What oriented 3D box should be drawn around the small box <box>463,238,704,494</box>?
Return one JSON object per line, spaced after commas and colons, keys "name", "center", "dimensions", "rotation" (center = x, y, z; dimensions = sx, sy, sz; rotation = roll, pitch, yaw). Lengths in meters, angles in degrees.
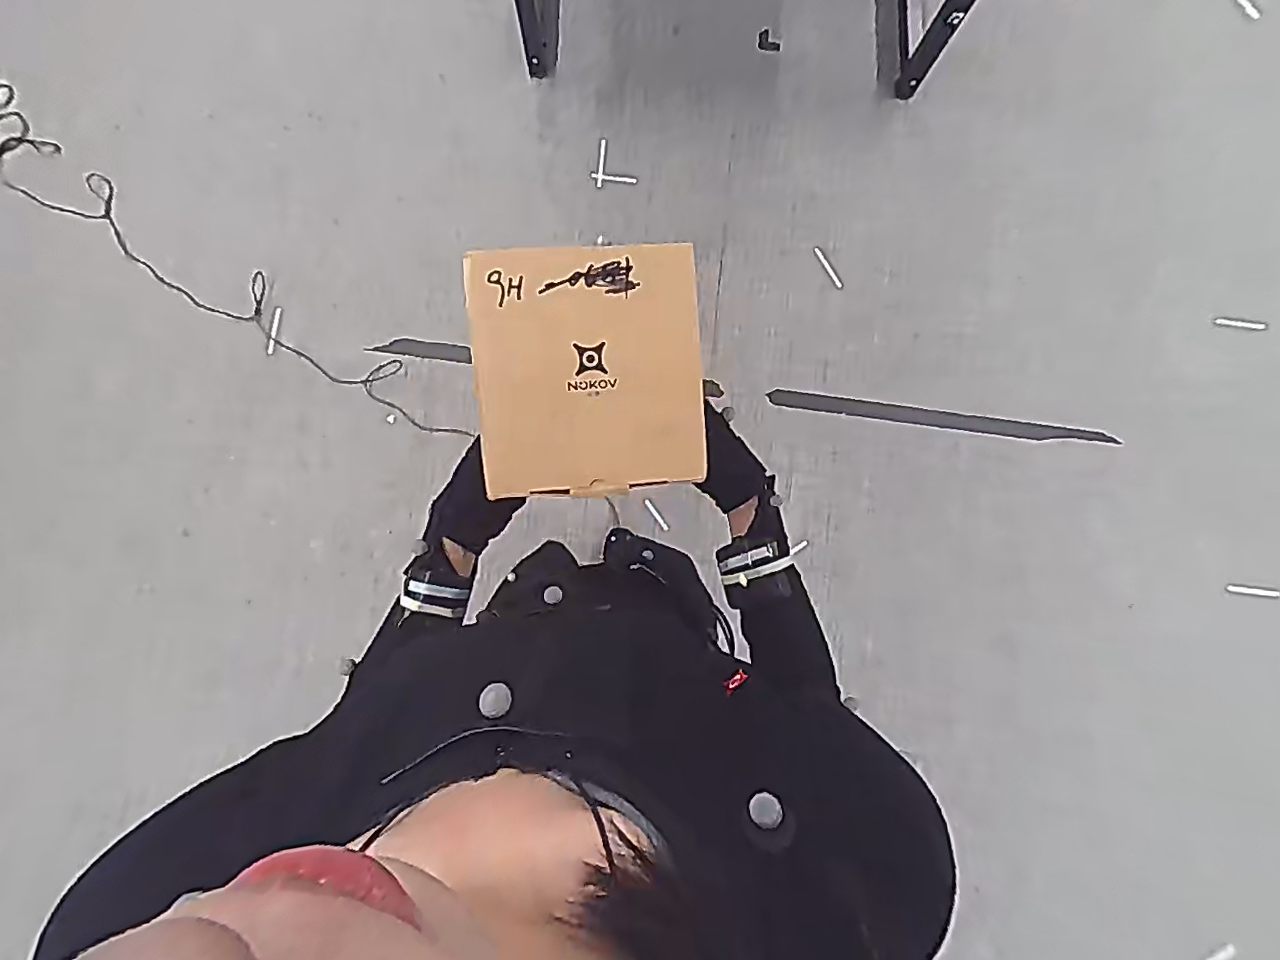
{"name": "small box", "center": [-0.045, -0.090, 0.464], "dimensions": [0.168, 0.176, 0.179], "rotation": [-4, 97, -6]}
